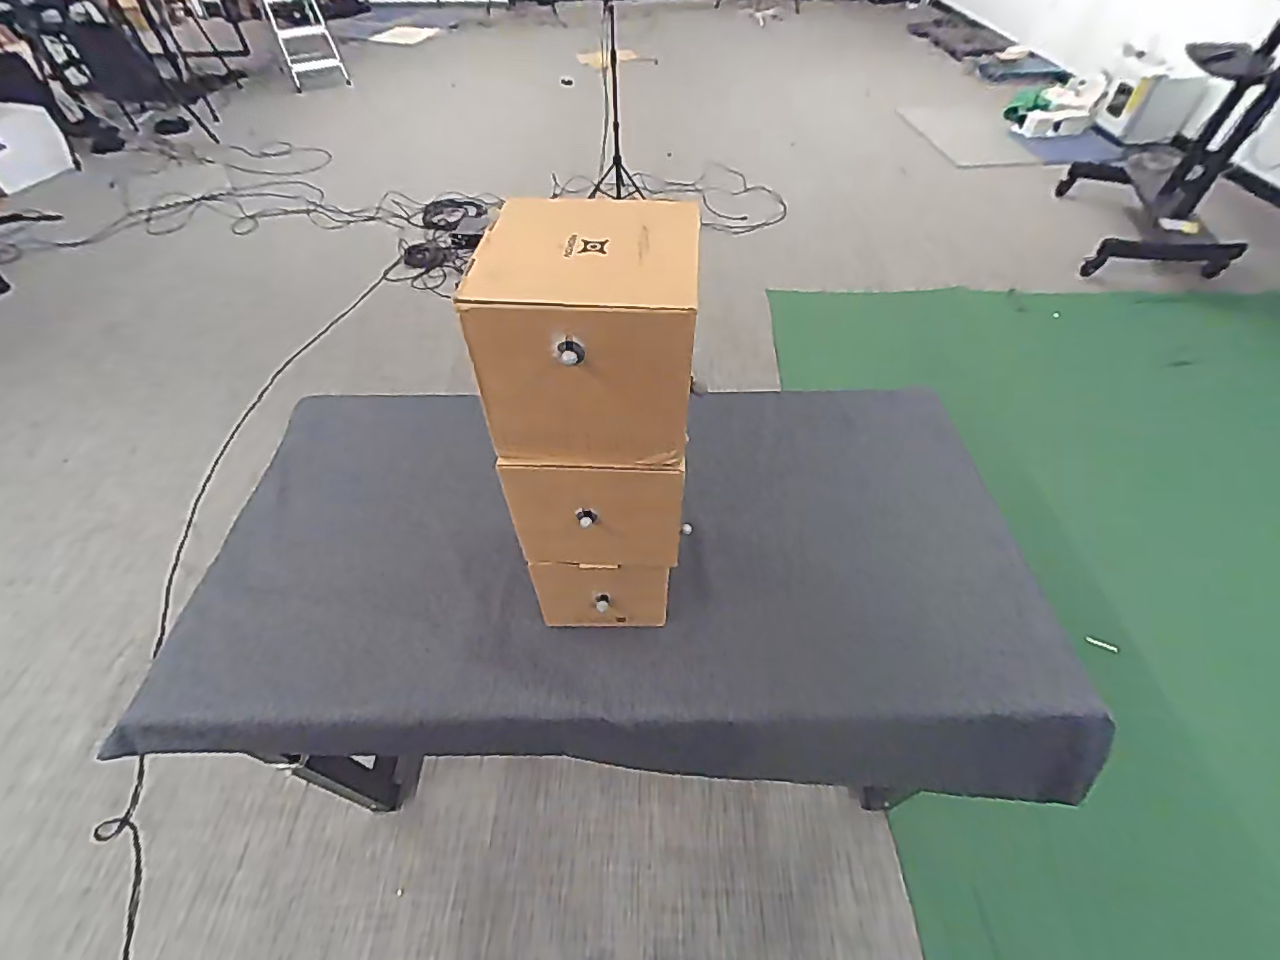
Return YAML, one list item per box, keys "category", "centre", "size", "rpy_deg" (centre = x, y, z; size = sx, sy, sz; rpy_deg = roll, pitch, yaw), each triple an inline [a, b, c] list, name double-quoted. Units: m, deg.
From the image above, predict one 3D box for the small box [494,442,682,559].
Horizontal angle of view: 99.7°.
- category: "small box"
  centre: [-0.043, -0.023, 0.608]
  size: [0.179, 0.176, 0.168]
  rpy_deg: [0, 50, 3]

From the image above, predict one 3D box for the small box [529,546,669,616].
- category: "small box"
  centre: [-0.046, 0.076, 0.739]
  size: [0.168, 0.176, 0.179]
  rpy_deg: [-2, 51, 1]

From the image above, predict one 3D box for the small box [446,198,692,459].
- category: "small box"
  centre: [-0.045, -0.132, 0.489]
  size: [0.179, 0.176, 0.168]
  rpy_deg: [3, 51, 3]
